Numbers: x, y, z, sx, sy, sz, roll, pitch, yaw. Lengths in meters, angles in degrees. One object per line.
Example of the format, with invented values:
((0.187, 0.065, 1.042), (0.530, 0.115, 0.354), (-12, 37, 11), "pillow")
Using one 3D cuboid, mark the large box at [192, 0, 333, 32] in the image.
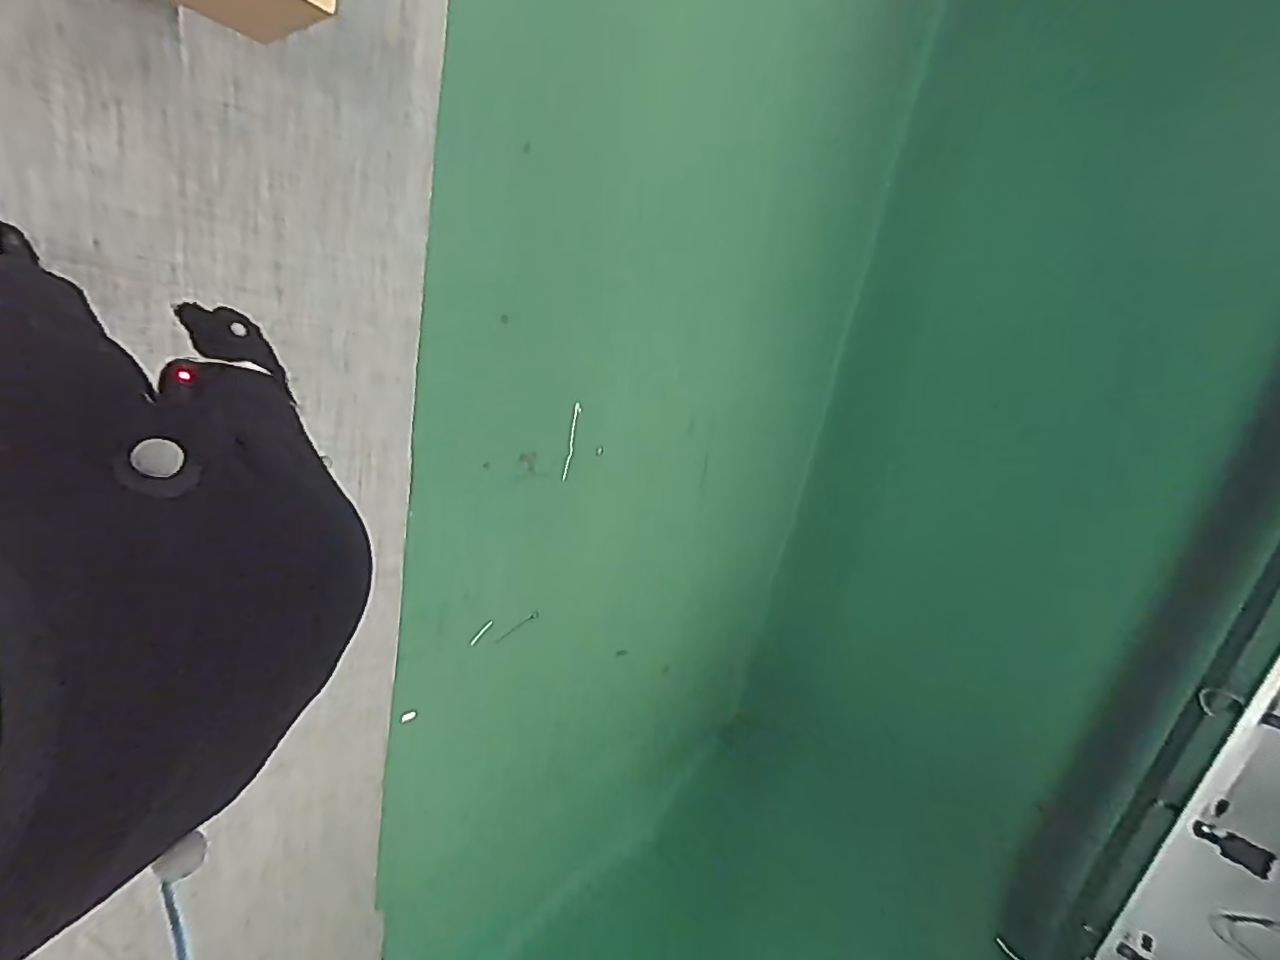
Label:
((-0.667, -0.887, 0.711), (0.408, 0.320, 0.320), (-6, 114, -50), "large box")
